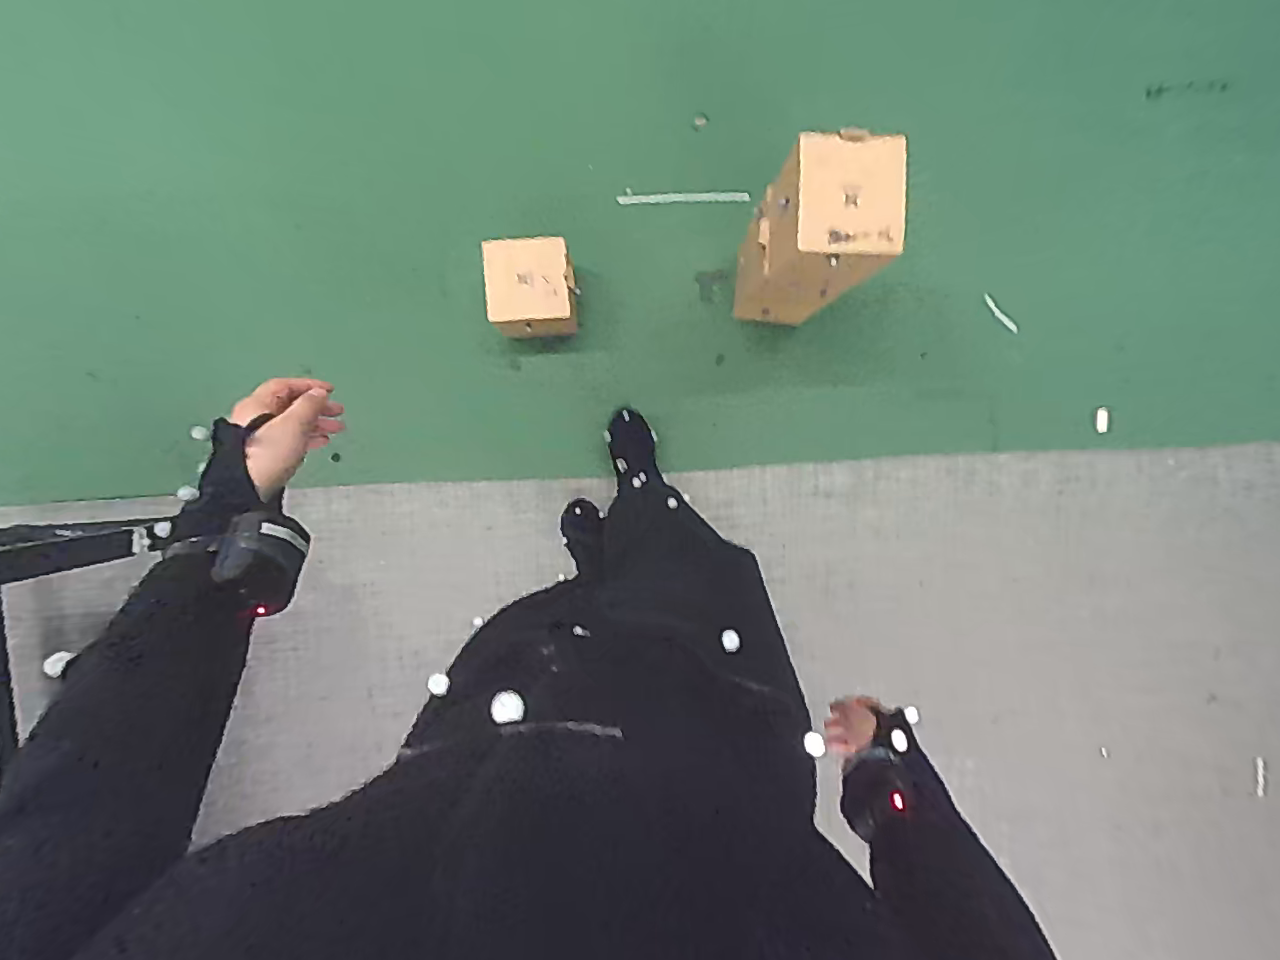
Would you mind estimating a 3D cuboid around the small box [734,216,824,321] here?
[{"bbox_3d":[0.313,-0.469,1.224,0.168,0.176,0.179,5,93,-3],"label":"small box"}]

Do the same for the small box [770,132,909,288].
[{"bbox_3d":[0.320,-0.437,0.897,0.168,0.176,0.179,1,93,-3],"label":"small box"}]

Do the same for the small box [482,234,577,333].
[{"bbox_3d":[-0.238,-0.430,1.204,0.179,0.176,0.168,-4,94,-2],"label":"small box"}]
